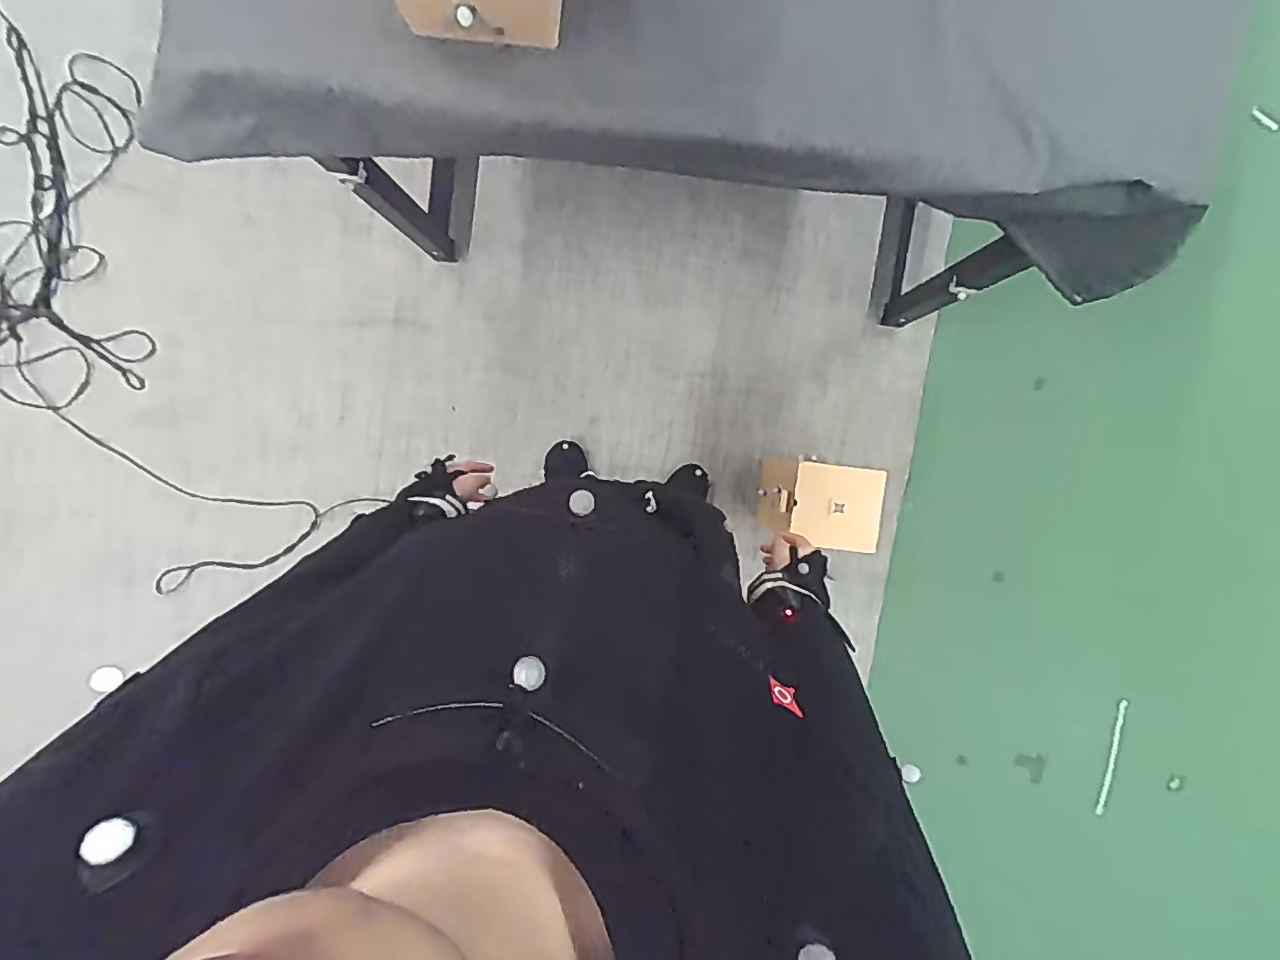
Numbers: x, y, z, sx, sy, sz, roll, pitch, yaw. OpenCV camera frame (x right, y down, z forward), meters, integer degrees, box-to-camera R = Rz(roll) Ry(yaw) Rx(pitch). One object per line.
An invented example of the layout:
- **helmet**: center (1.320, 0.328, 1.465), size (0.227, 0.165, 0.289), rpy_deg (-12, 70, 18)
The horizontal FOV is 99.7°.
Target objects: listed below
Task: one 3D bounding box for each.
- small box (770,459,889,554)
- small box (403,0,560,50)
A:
- **small box**: center (0.383, 0.048, 1.121), size (0.179, 0.176, 0.168), rpy_deg (6, 94, 1)
- **small box**: center (-0.166, -0.570, 0.519), size (0.168, 0.176, 0.179), rpy_deg (6, 95, 1)
